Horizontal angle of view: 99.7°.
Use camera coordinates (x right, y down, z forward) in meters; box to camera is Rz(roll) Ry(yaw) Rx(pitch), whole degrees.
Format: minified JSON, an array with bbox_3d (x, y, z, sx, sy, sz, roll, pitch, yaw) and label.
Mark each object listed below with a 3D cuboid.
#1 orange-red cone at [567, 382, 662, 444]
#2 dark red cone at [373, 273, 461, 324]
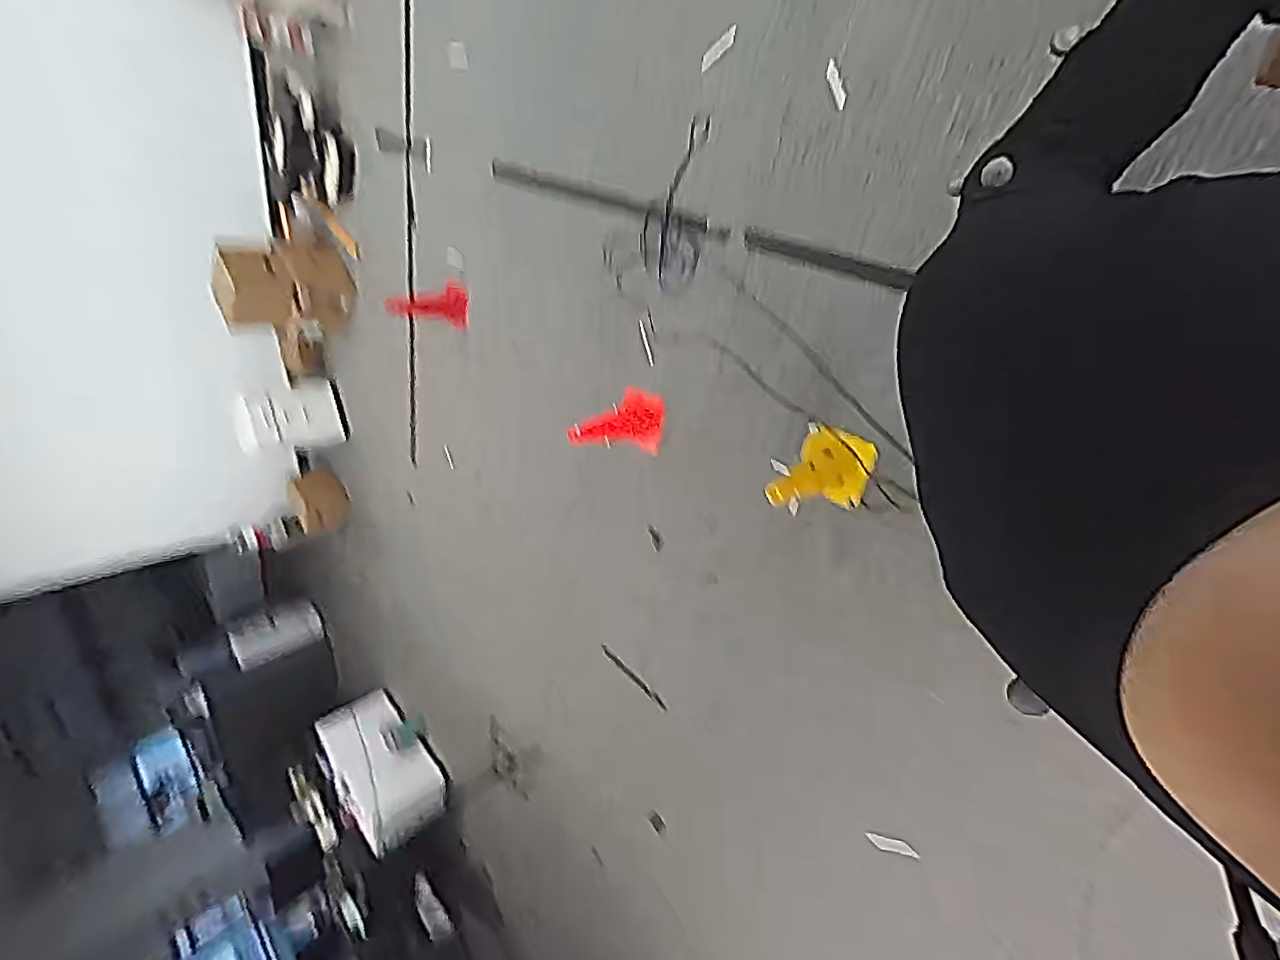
[{"bbox_3d":[-0.113,-0.208,1.908,0.199,0.360,0.198,29,123,32],"label":"orange-red cone"},{"bbox_3d":[-1.048,-0.856,2.539,0.202,0.394,0.201,38,125,28],"label":"dark red cone"}]
